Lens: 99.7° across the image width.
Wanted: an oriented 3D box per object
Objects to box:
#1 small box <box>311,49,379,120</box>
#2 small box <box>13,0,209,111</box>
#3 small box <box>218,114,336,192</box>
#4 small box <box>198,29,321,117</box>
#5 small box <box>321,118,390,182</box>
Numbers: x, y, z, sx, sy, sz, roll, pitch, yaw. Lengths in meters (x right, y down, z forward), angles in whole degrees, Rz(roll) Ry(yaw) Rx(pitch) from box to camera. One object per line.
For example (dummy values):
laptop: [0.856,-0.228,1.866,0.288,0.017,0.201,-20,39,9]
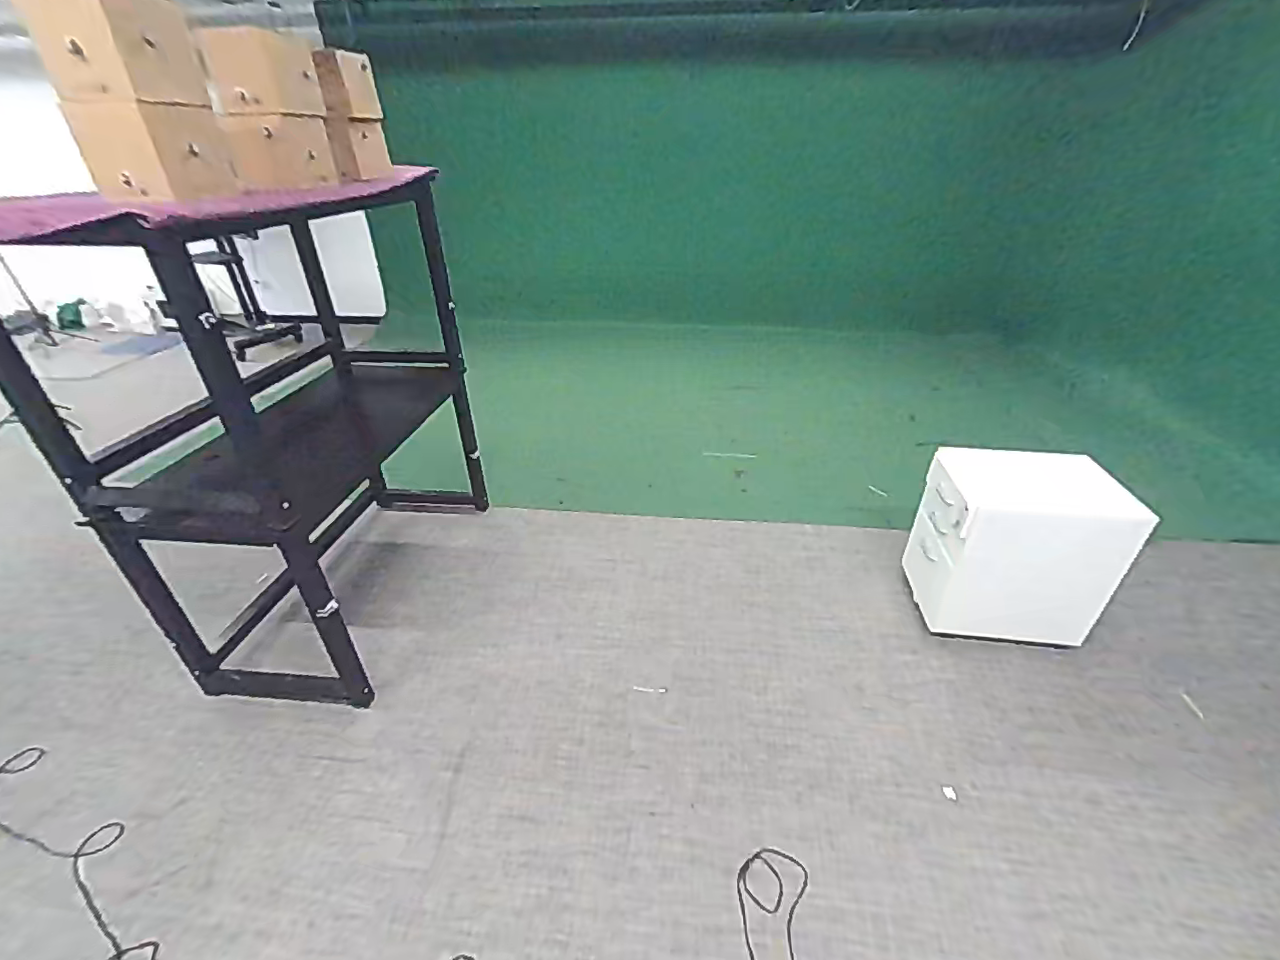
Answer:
small box: [-0.932,-1.197,1.653,0.168,0.176,0.179,2,33,8]
small box: [-0.968,-0.797,1.010,0.168,0.176,0.179,4,33,6]
small box: [-0.951,-0.868,1.437,0.179,0.176,0.168,4,31,7]
small box: [-0.939,-1.011,1.359,0.168,0.176,0.179,3,33,8]
small box: [-0.941,-1.062,1.744,0.168,0.176,0.179,5,33,11]
